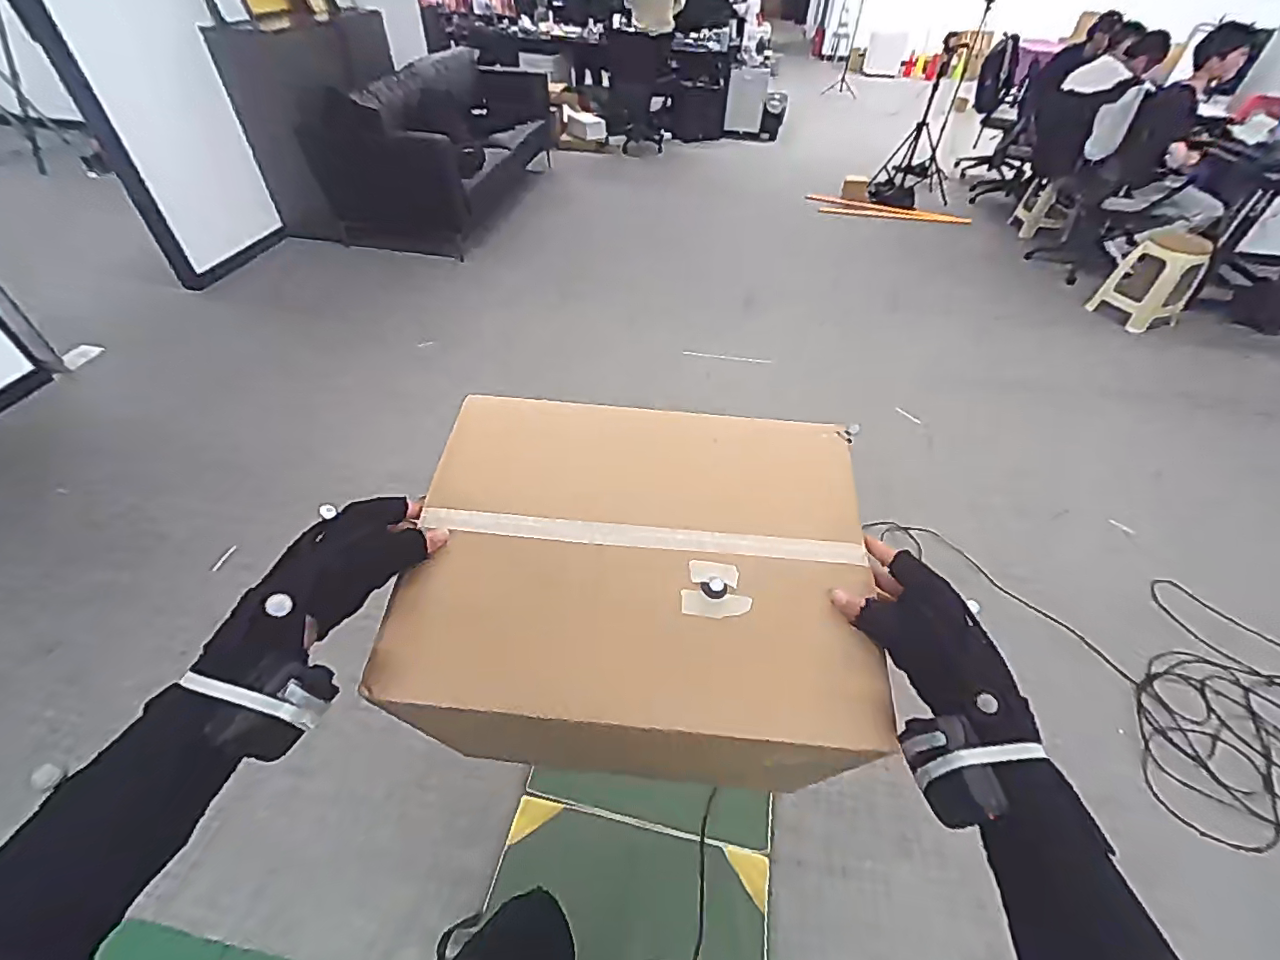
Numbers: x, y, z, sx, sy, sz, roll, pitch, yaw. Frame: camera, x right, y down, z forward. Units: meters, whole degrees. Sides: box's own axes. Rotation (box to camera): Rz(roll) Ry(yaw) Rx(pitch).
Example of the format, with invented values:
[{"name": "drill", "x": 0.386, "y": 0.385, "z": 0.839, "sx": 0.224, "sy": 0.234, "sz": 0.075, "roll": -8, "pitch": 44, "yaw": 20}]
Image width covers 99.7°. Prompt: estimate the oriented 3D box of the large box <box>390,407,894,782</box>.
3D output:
[{"name": "large box", "x": 0.004, "y": 0.144, "z": 0.624, "sx": 0.408, "sy": 0.320, "sz": 0.320, "roll": 5, "pitch": 56, "yaw": 1}]
